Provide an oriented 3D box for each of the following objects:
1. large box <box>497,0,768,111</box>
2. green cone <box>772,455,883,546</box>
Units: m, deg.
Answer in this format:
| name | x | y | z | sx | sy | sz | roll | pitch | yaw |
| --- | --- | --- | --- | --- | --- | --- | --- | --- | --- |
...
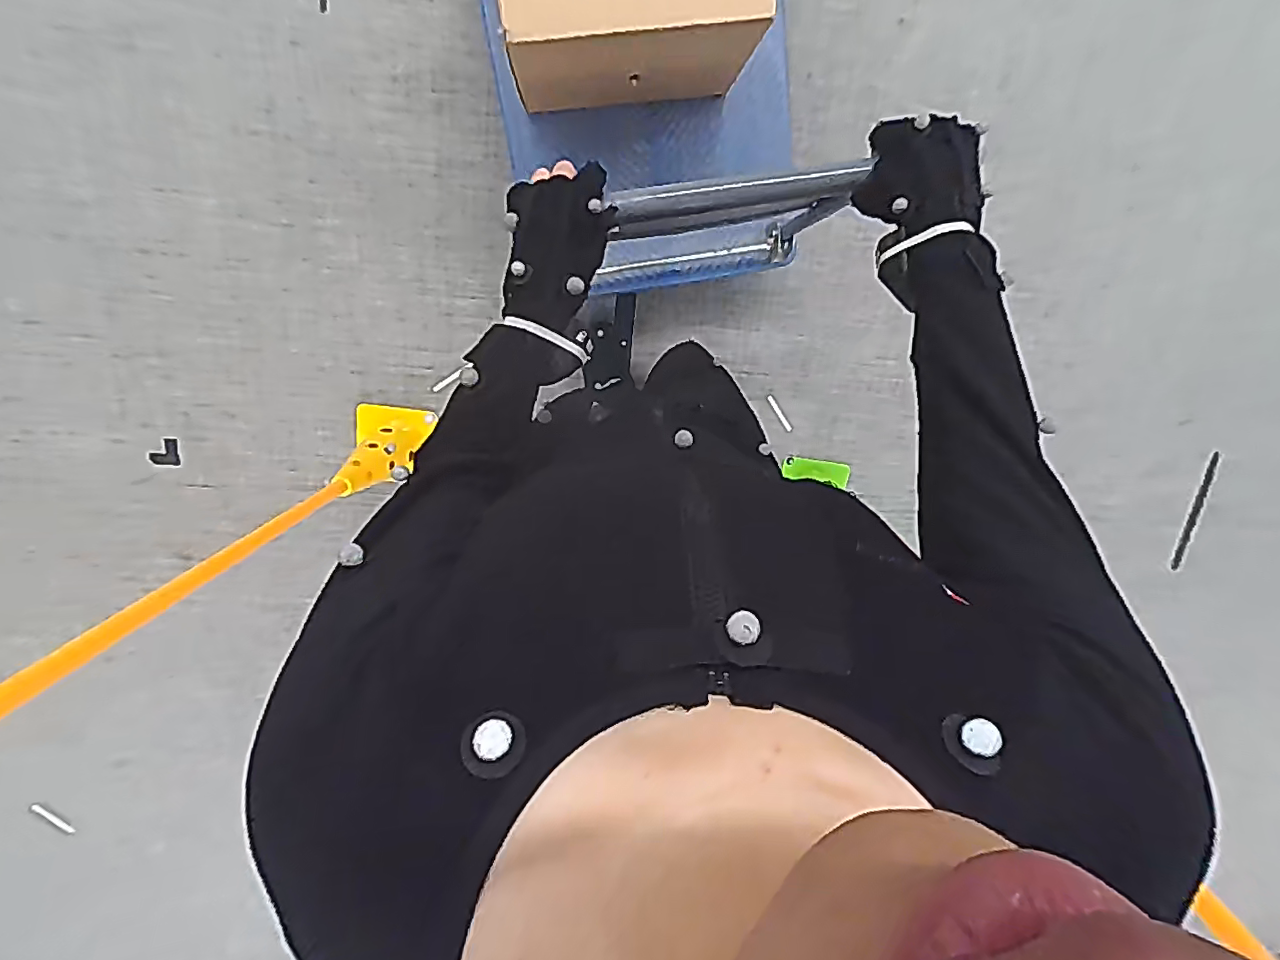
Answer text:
| name | x | y | z | sx | sy | sz | roll | pitch | yaw |
| --- | --- | --- | --- | --- | --- | --- | --- | --- | --- |
| large box | -0.032 | -0.857 | 0.899 | 0.408 | 0.320 | 0.320 | -8 | 108 | -2 |
| green cone | 0.506 | 0.083 | 1.391 | 0.202 | 0.368 | 0.200 | 7 | 106 | -9 |
